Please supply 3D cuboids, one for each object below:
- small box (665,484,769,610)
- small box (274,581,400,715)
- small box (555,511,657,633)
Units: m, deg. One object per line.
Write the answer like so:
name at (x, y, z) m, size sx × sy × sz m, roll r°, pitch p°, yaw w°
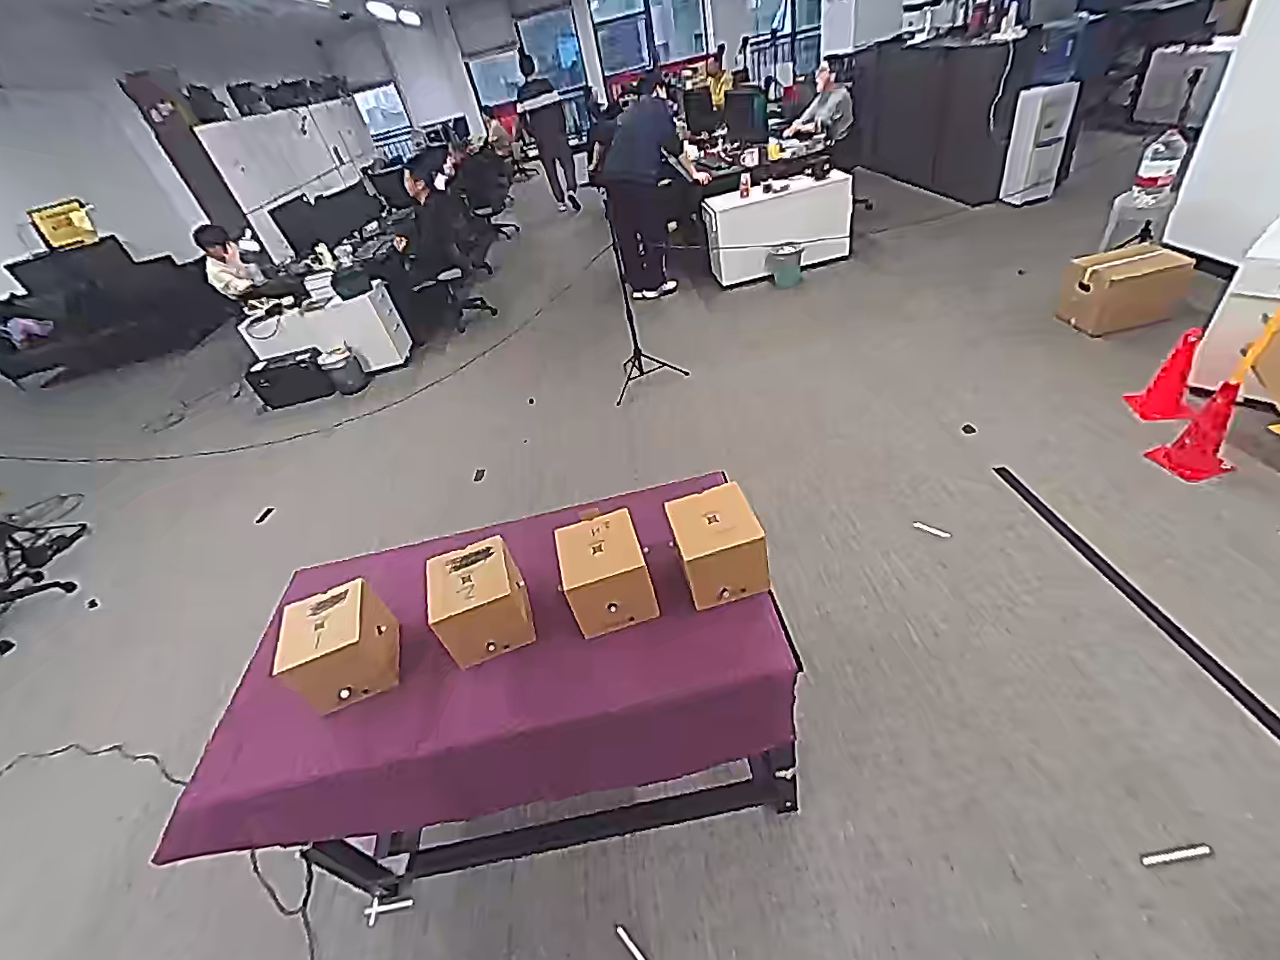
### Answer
small box at (0.162, 0.142, 1.142) m, size 0.168 × 0.176 × 0.179 m, roll -17°, pitch 38°, yaw 0°
small box at (-0.623, 0.353, 1.136) m, size 0.168 × 0.176 × 0.179 m, roll -22°, pitch 40°, yaw -9°
small box at (-0.070, 0.200, 1.146) m, size 0.168 × 0.176 × 0.179 m, roll -17°, pitch 38°, yaw -3°
